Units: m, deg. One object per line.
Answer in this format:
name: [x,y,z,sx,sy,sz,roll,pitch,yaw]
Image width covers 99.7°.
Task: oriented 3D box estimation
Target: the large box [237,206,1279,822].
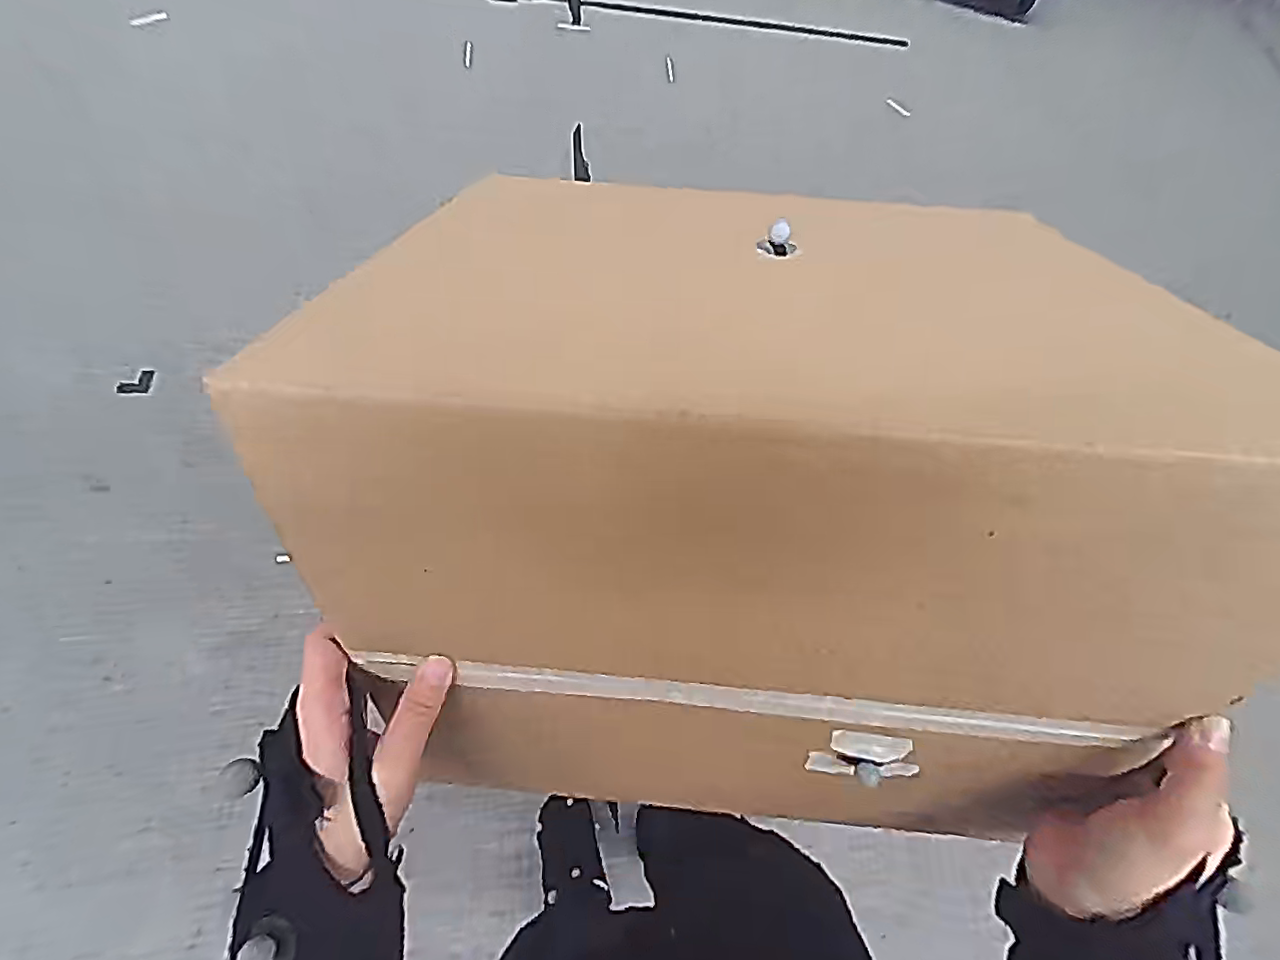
large box: [0.060,0.007,0.389,0.408,0.320,0.320,3,41,2]
